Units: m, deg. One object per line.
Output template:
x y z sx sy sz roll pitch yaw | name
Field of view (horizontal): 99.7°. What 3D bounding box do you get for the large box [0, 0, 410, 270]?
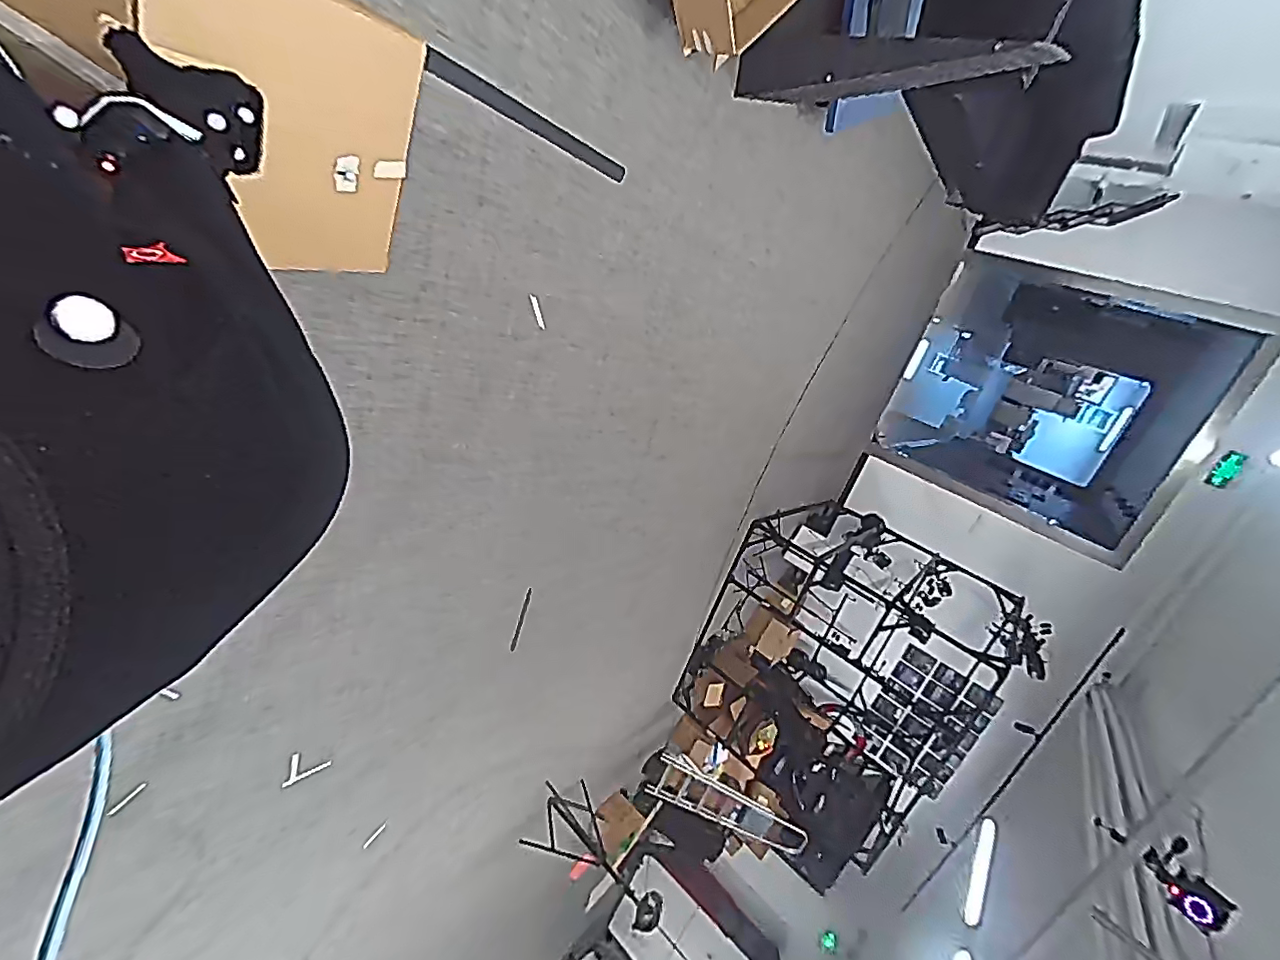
-0.572 -0.502 0.690 0.320 0.408 0.320 -32 154 -58 | large box
